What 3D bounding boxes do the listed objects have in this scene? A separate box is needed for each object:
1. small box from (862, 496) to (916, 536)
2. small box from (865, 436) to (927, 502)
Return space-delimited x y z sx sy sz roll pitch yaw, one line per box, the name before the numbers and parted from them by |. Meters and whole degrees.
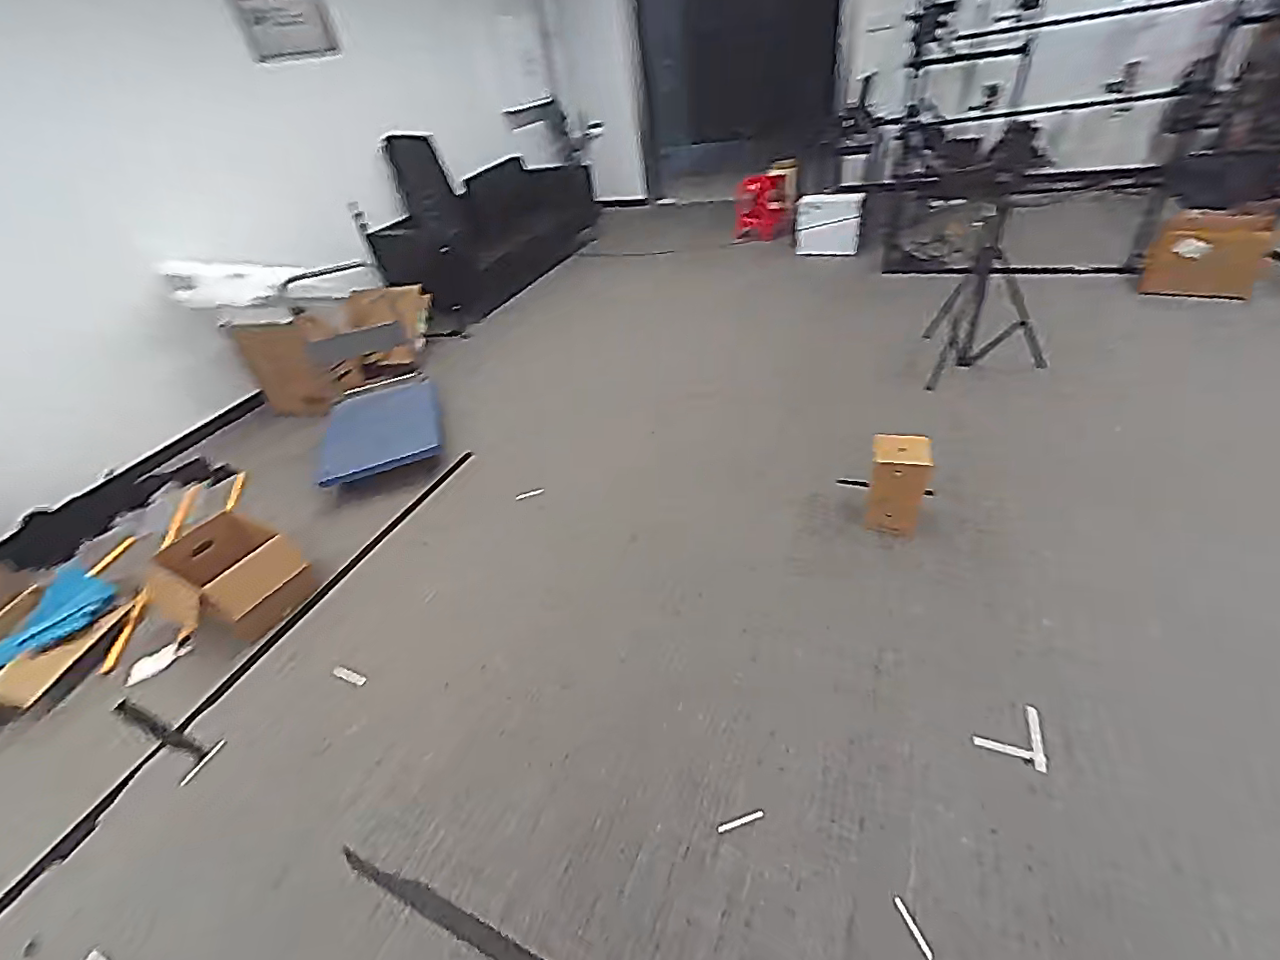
small box | 0.936 0.083 2.021 0.168 0.176 0.179 11 42 25
small box | 0.903 -0.038 1.917 0.179 0.176 0.168 4 40 19
